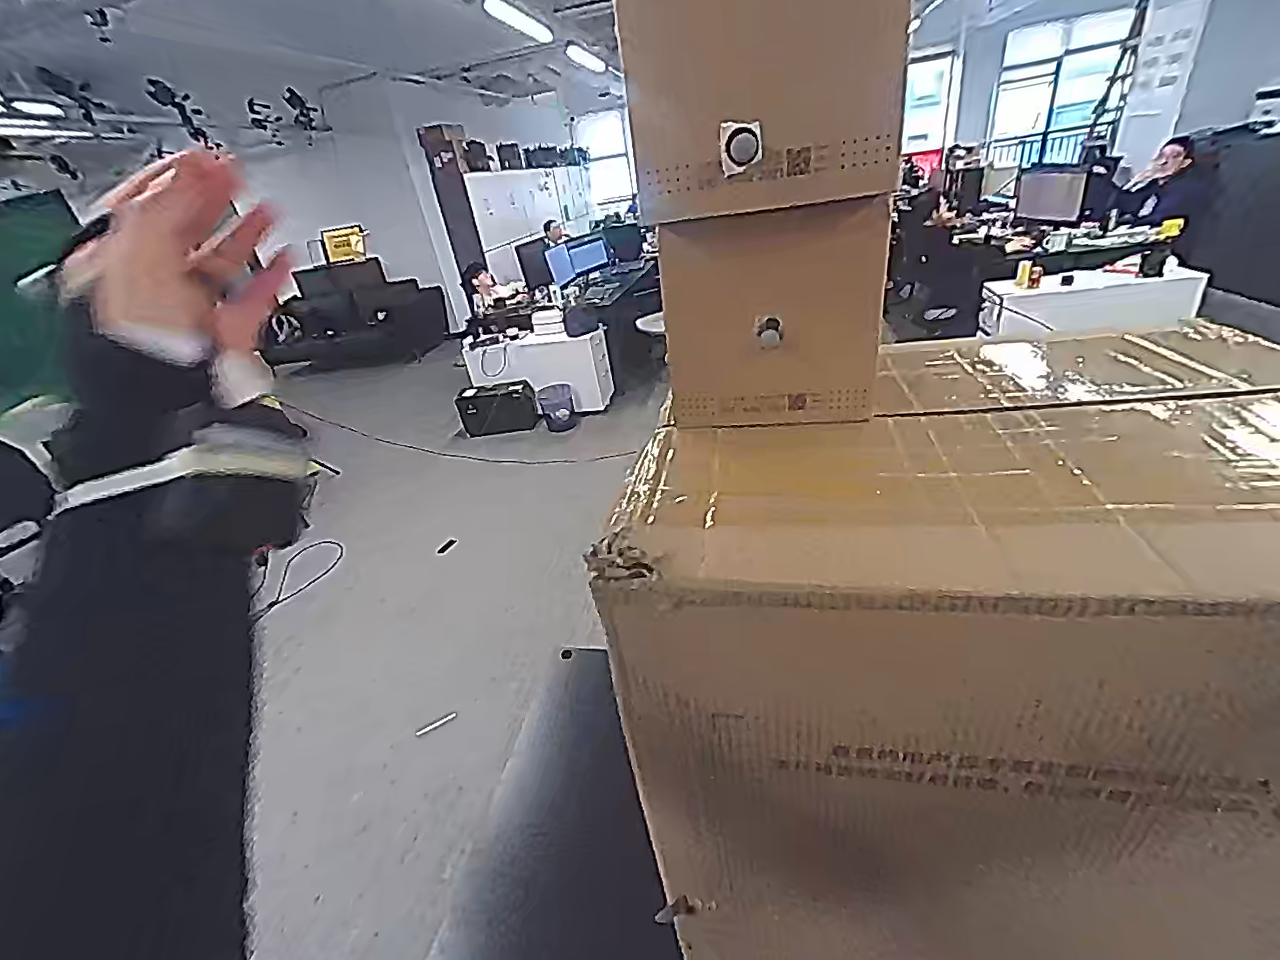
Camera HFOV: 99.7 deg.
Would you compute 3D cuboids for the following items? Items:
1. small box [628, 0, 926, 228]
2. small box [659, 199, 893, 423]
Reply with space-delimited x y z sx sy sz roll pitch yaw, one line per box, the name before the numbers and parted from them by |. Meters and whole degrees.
small box | 0.088 -0.282 0.381 0.168 0.176 0.179 -4 29 11
small box | 0.120 -0.157 0.488 0.168 0.176 0.179 -1 30 13
